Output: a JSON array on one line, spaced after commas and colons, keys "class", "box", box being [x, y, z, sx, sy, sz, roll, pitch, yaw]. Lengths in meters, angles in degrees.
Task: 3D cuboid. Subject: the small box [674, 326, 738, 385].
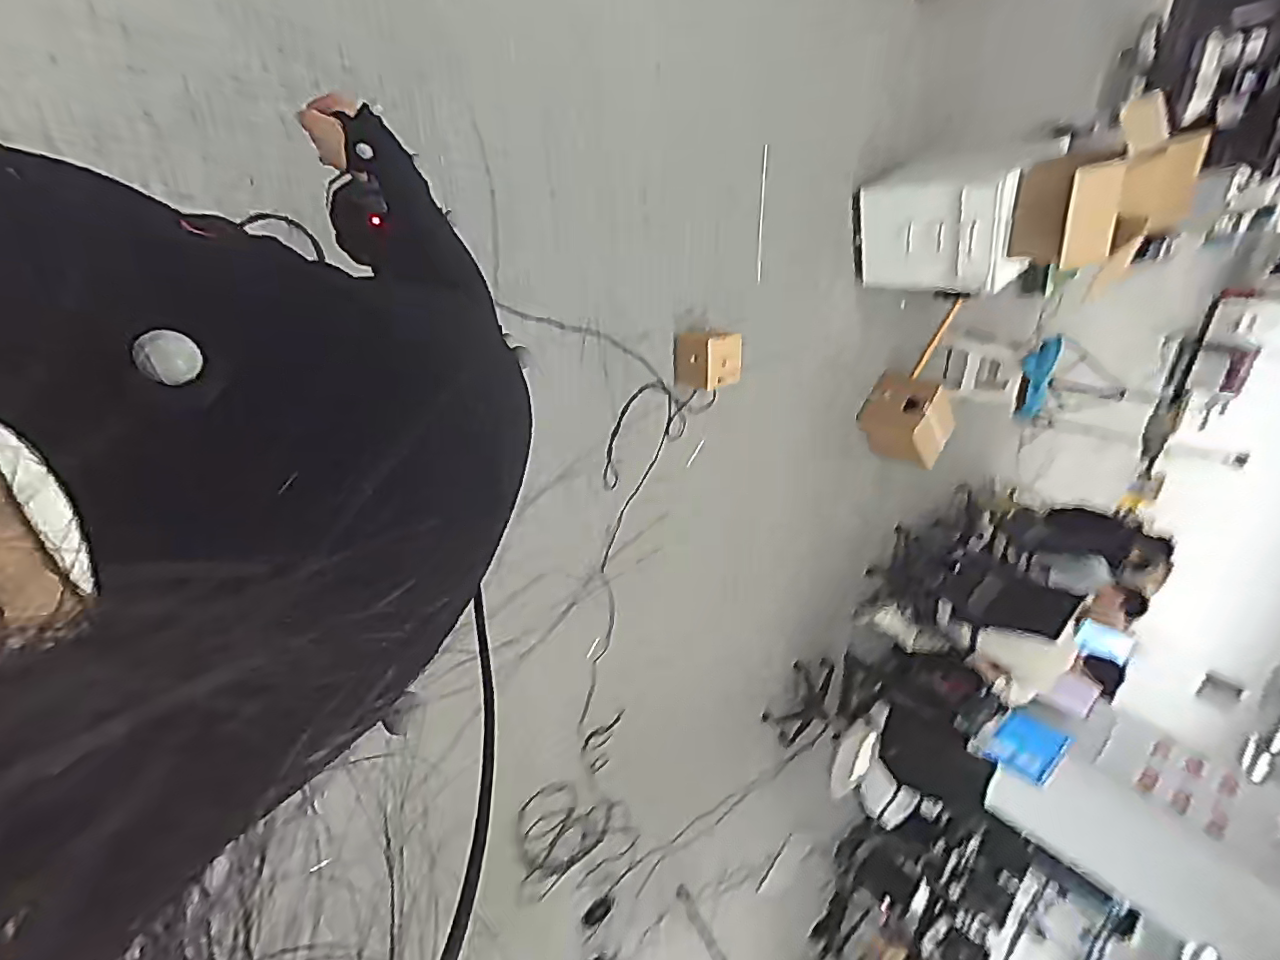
[{"class": "small box", "box": [0.234, -0.454, 1.946, 0.168, 0.176, 0.179, -21, 120, -32]}]
